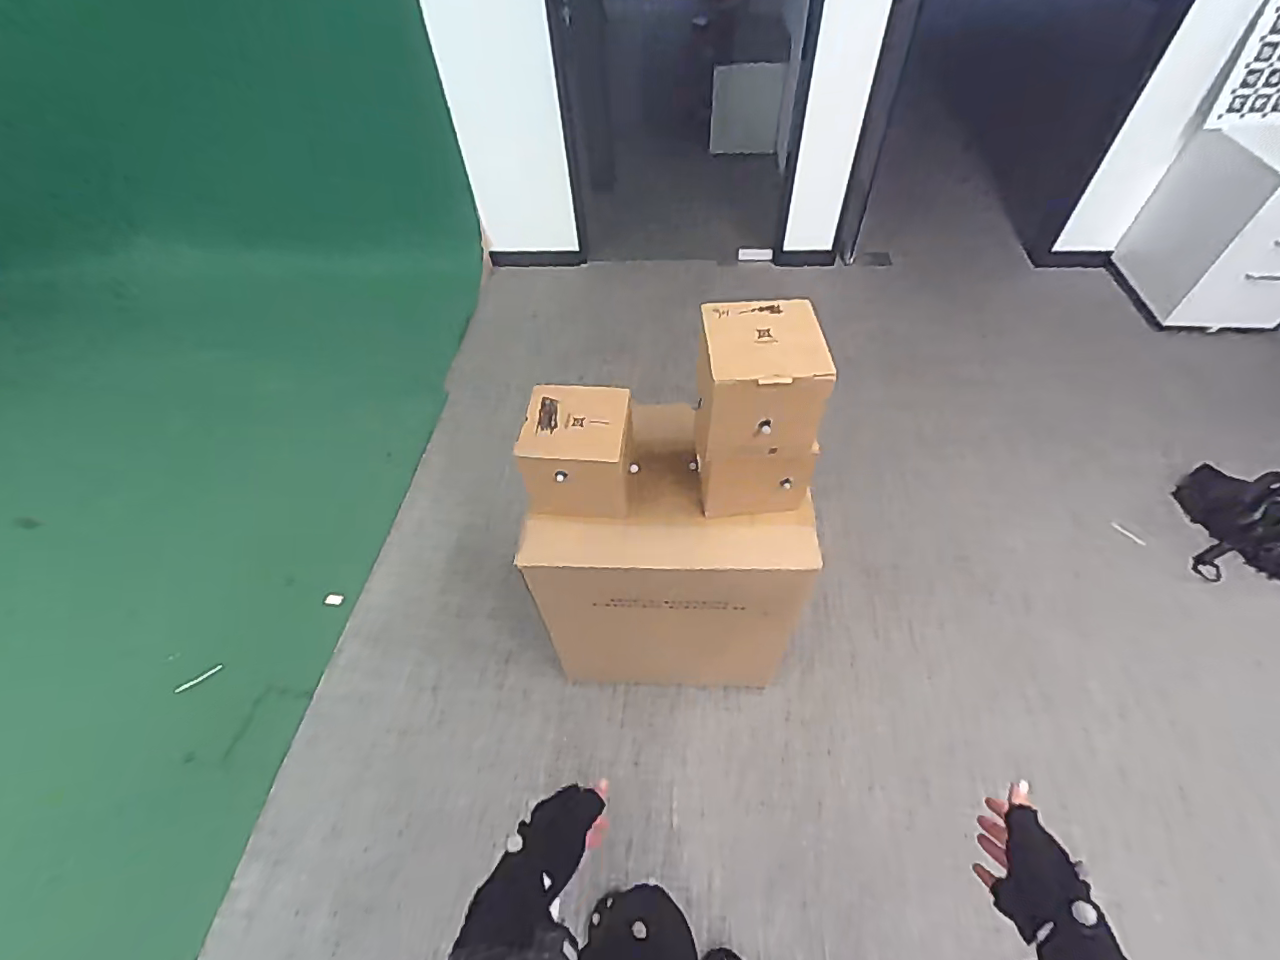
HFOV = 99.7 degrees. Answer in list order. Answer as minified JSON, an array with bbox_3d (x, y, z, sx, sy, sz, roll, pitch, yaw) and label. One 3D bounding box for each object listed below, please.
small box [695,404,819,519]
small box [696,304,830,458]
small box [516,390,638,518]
[{"bbox_3d":[0.196,-0.047,0.964,0.179,0.176,0.168,-7,52,0],"label":"small box"},{"bbox_3d":[0.177,-0.145,0.834,0.168,0.176,0.179,-3,53,1],"label":"small box"},{"bbox_3d":[-0.103,-0.043,0.980,0.179,0.176,0.168,3,54,6],"label":"small box"}]
